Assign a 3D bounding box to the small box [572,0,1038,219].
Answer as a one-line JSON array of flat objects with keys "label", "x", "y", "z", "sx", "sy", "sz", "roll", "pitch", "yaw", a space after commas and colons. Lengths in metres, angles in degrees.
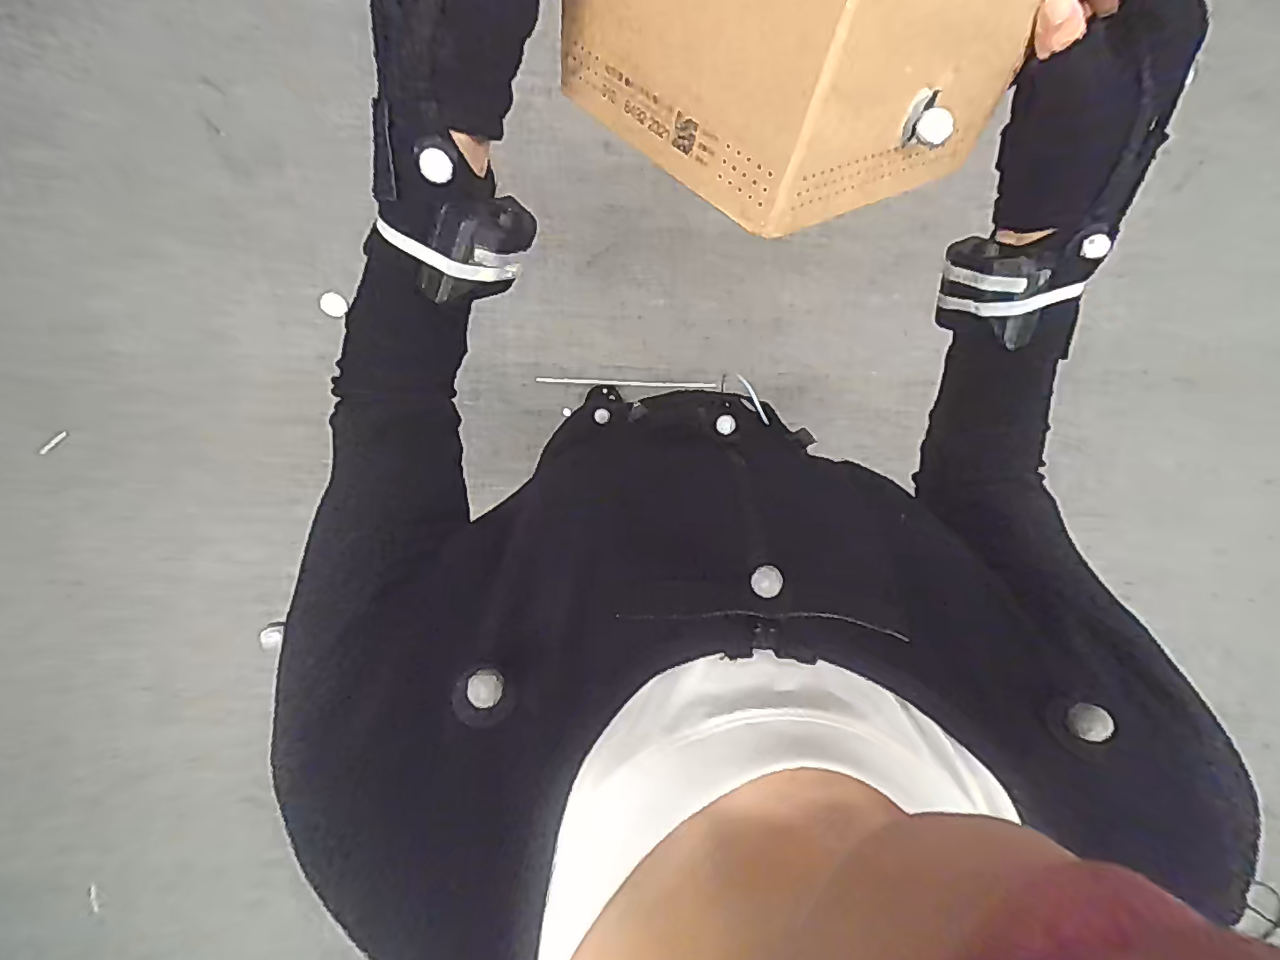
[{"label": "small box", "x": 0.082, "y": -0.254, "z": 0.253, "sx": 0.179, "sy": 0.176, "sz": 0.168, "roll": -29, "pitch": 64, "yaw": -27}]
